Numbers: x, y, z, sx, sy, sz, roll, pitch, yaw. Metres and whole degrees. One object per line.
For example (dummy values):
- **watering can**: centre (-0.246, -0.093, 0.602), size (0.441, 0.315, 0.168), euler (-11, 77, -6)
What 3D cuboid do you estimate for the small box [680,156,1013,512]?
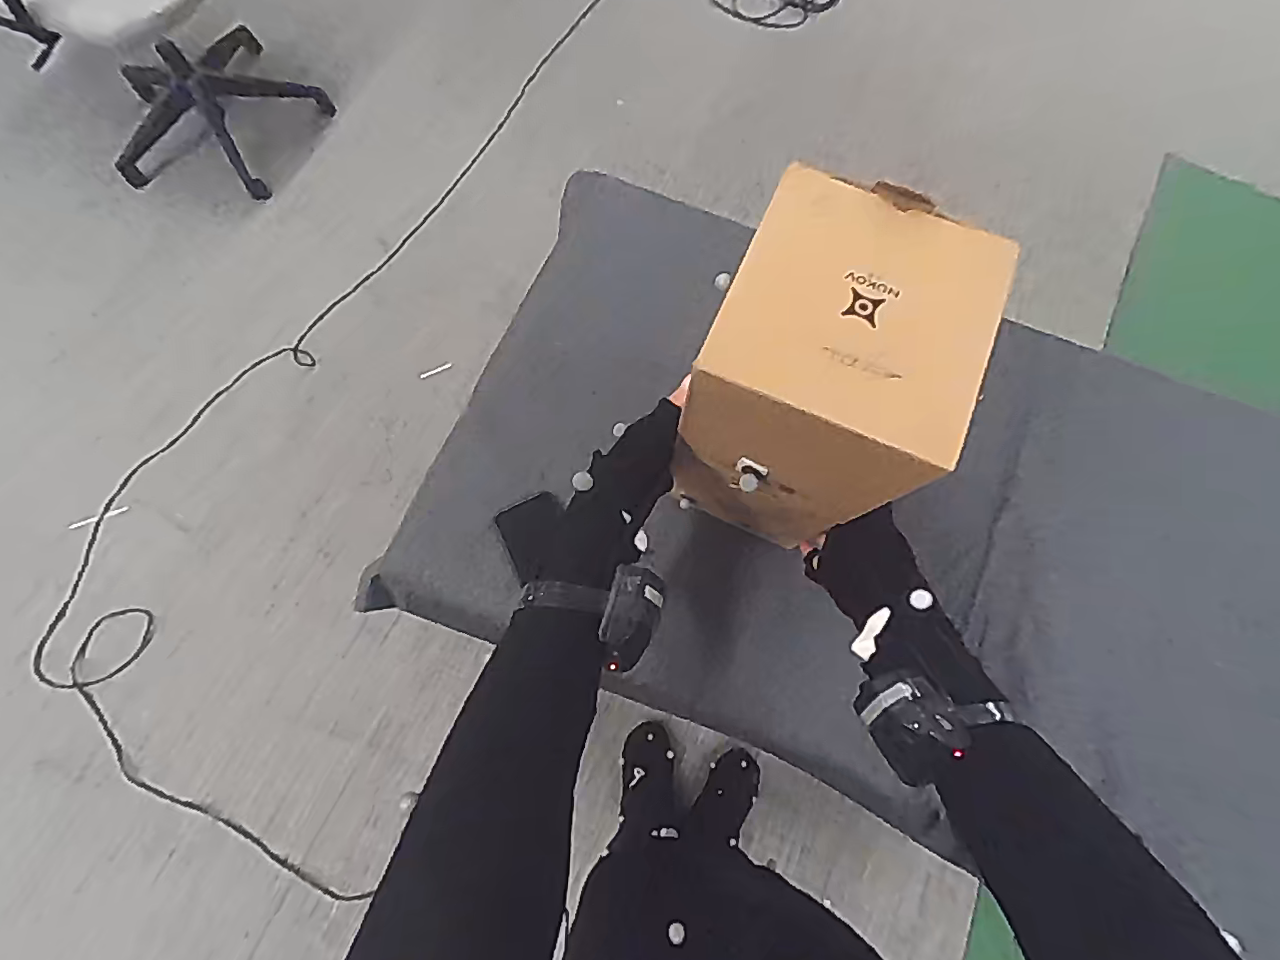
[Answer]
- **small box**: centre (0.137, -0.095, 0.421), size (0.168, 0.176, 0.179), euler (23, 76, 6)

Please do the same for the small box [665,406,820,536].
- **small box**: centre (0.134, -0.057, 0.578), size (0.168, 0.176, 0.179), euler (24, 74, 5)
